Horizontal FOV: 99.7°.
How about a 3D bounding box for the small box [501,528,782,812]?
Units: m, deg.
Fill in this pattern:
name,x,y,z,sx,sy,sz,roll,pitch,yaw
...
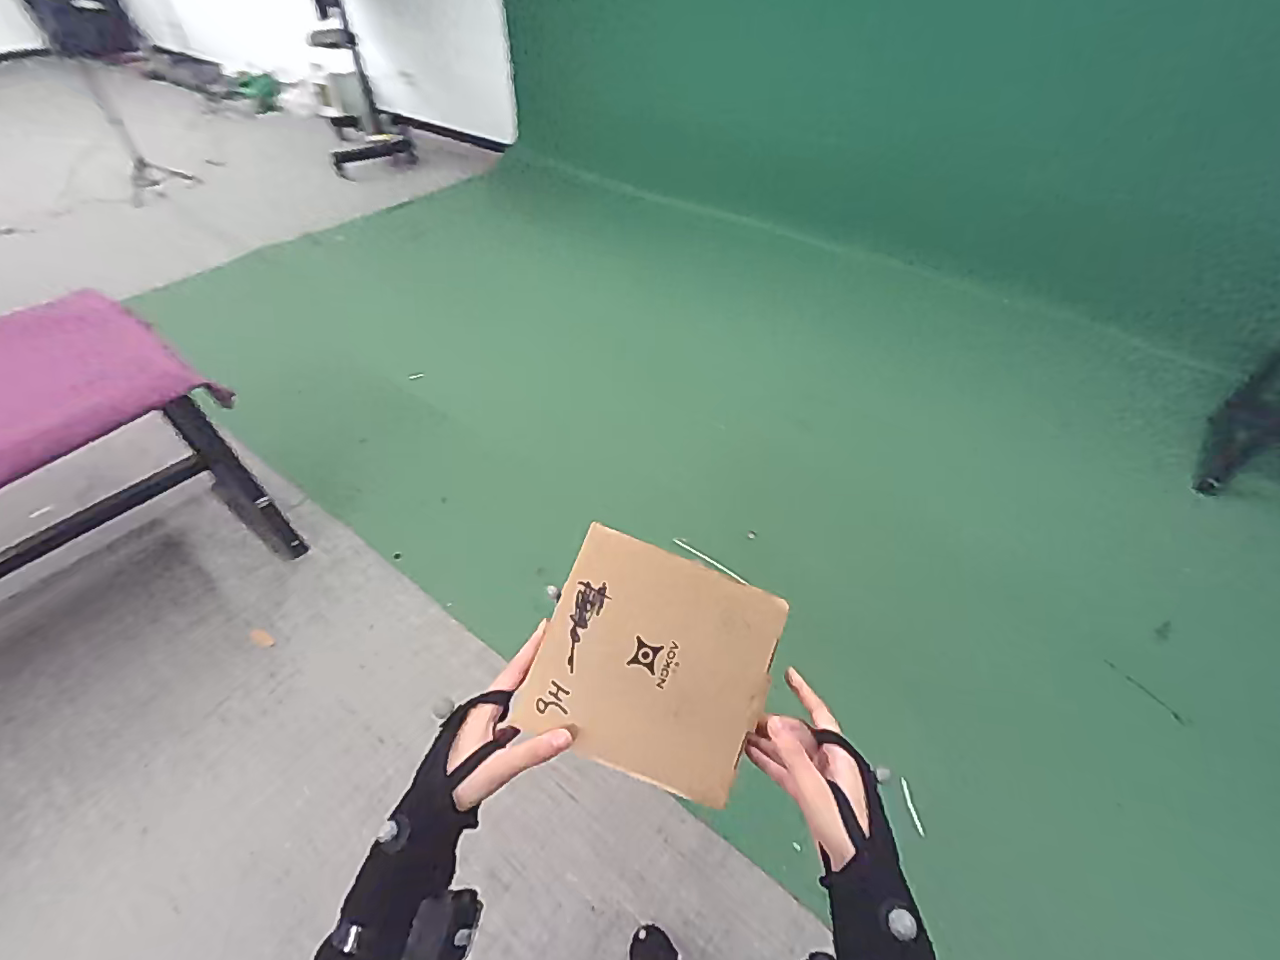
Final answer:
name,x,y,z,sx,sy,sz,roll,pitch,yaw
small box,-0.001,0.157,0.492,0.179,0.176,0.168,22,77,0
